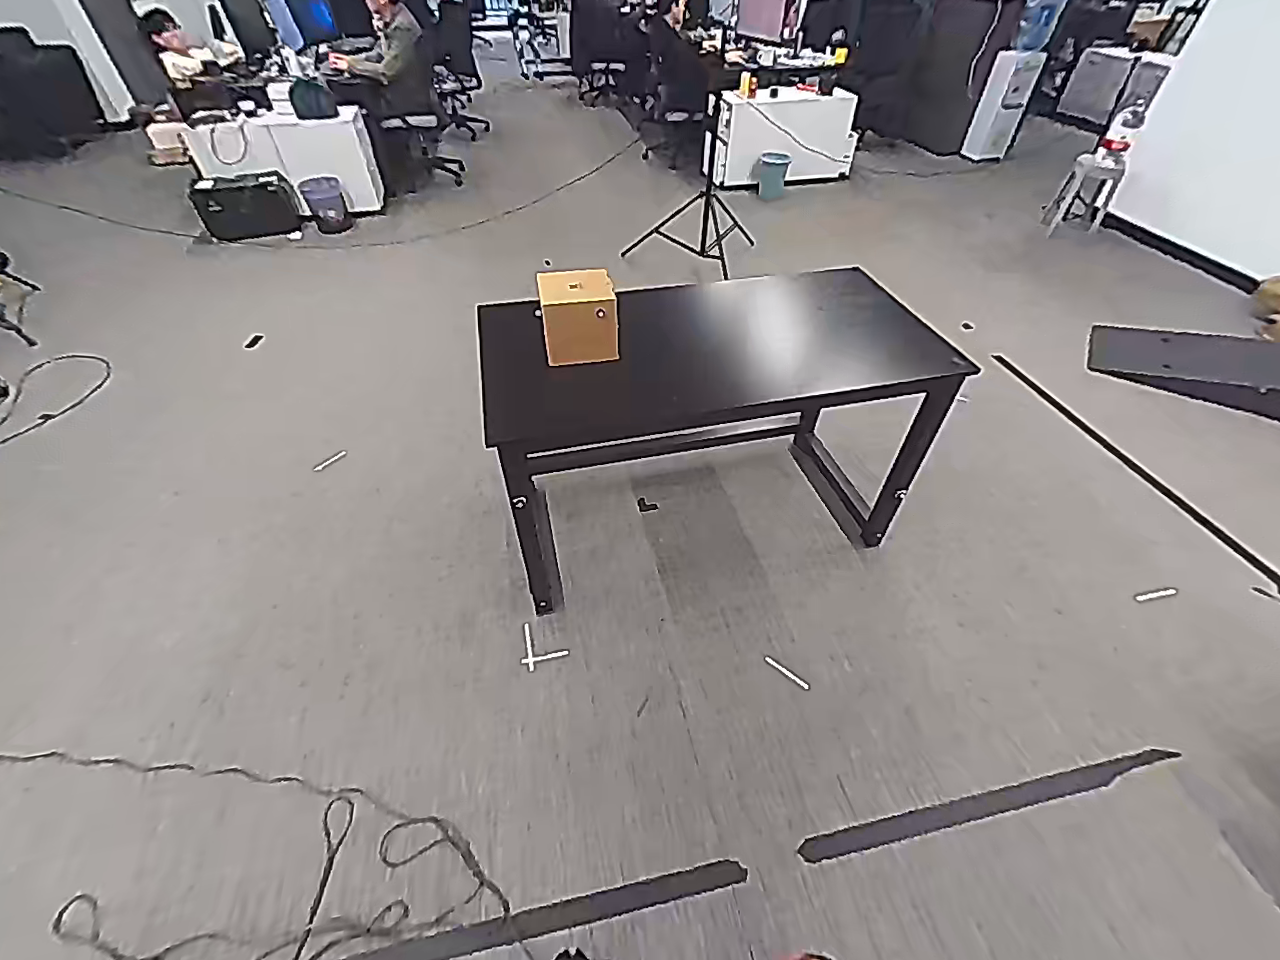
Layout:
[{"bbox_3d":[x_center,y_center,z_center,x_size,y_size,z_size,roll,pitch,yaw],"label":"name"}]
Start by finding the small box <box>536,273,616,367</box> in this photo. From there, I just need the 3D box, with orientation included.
[{"bbox_3d":[-0.158,-0.399,1.358,0.179,0.176,0.168,-8,46,-9],"label":"small box"}]
